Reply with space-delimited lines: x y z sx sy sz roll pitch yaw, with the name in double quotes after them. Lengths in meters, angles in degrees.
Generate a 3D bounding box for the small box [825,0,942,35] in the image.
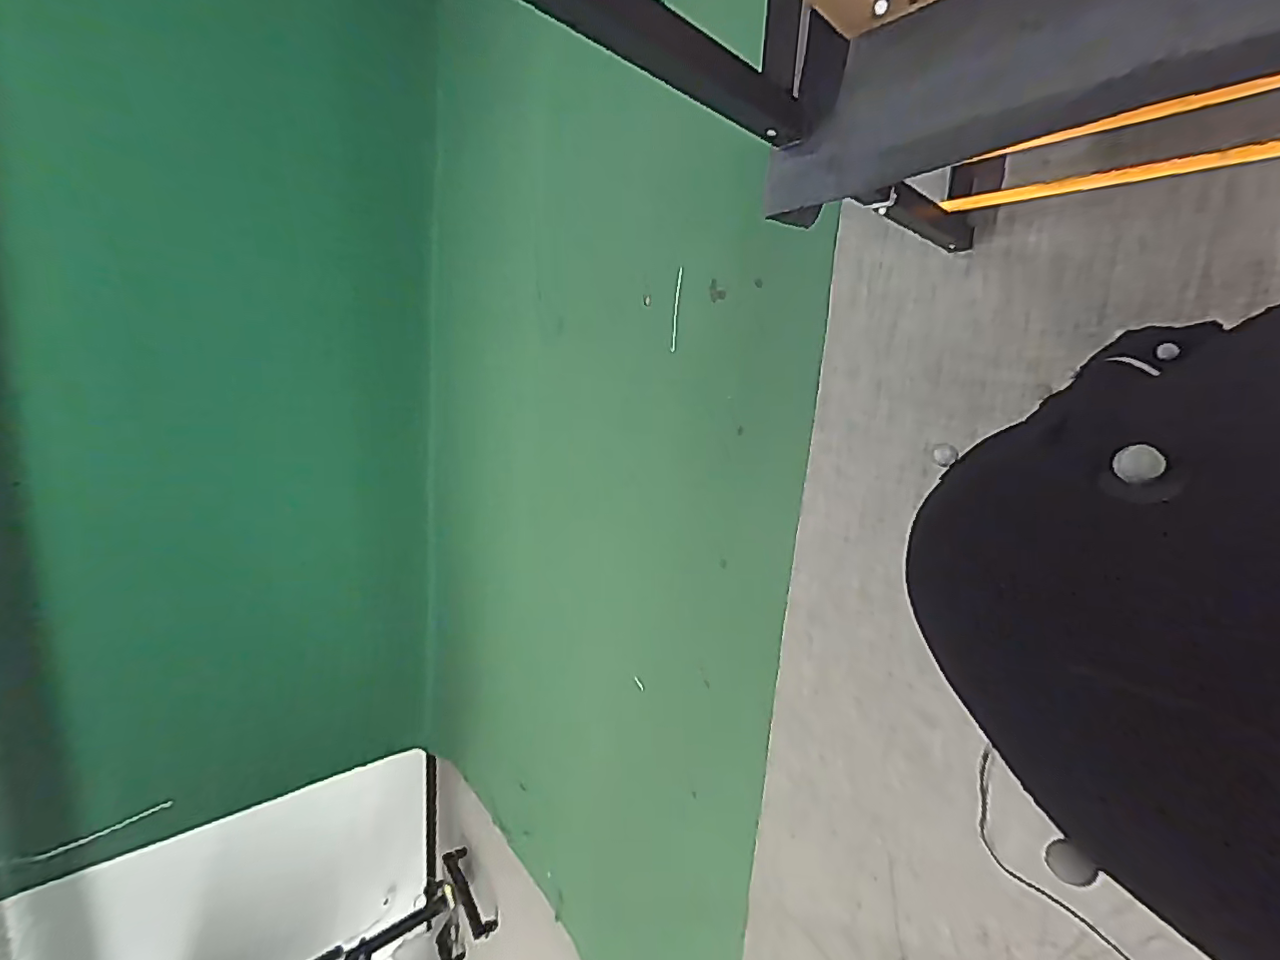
0.315 -0.724 0.680 0.168 0.176 0.179 15 105 47 "small box"
